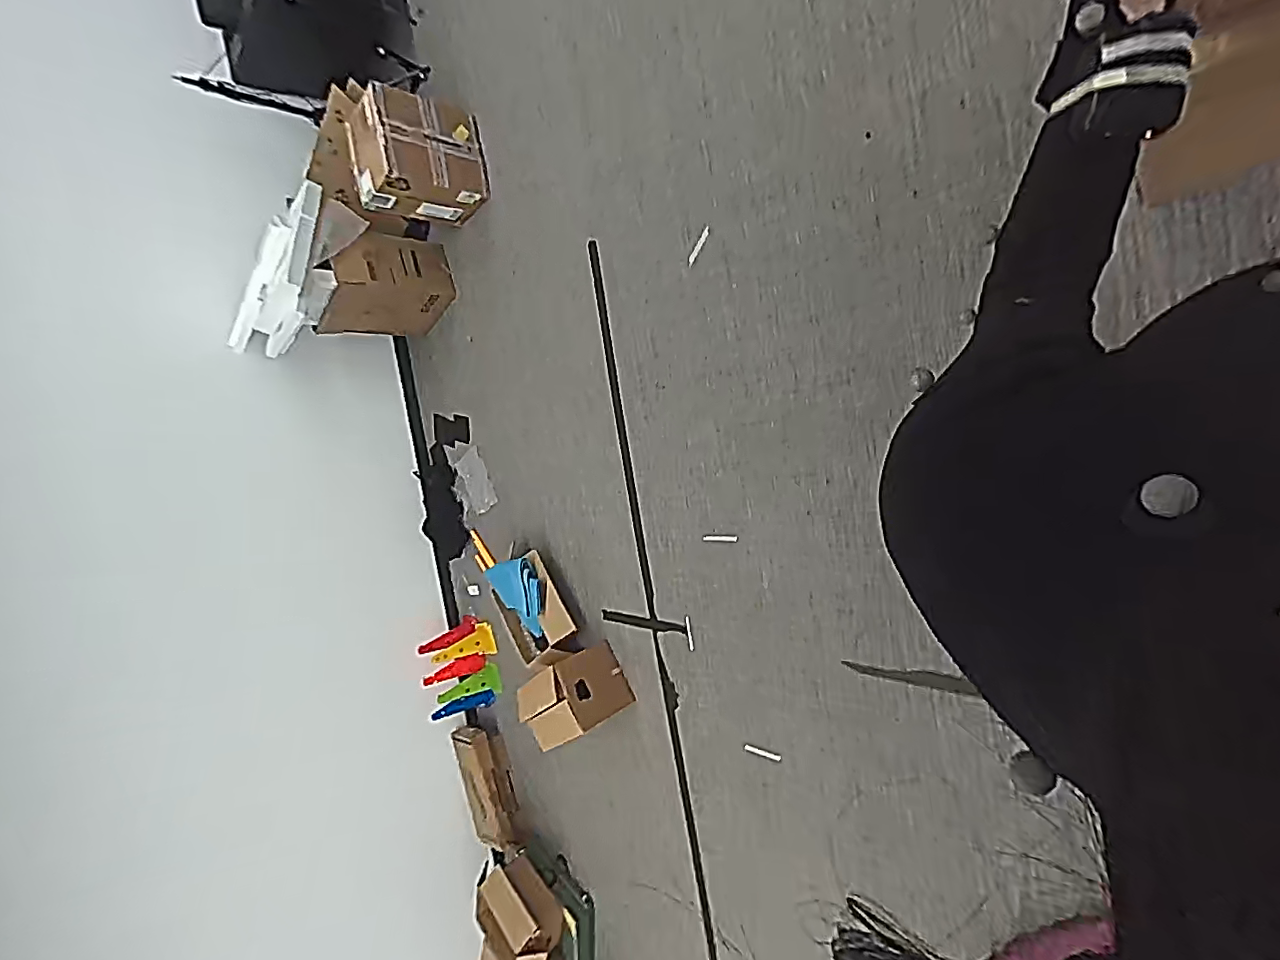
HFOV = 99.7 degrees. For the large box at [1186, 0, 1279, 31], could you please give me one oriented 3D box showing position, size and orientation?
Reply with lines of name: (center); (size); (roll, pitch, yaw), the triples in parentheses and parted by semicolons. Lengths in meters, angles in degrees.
large box: (0.577, -0.530, 0.283); (0.408, 0.320, 0.320); (4, 120, 48)
